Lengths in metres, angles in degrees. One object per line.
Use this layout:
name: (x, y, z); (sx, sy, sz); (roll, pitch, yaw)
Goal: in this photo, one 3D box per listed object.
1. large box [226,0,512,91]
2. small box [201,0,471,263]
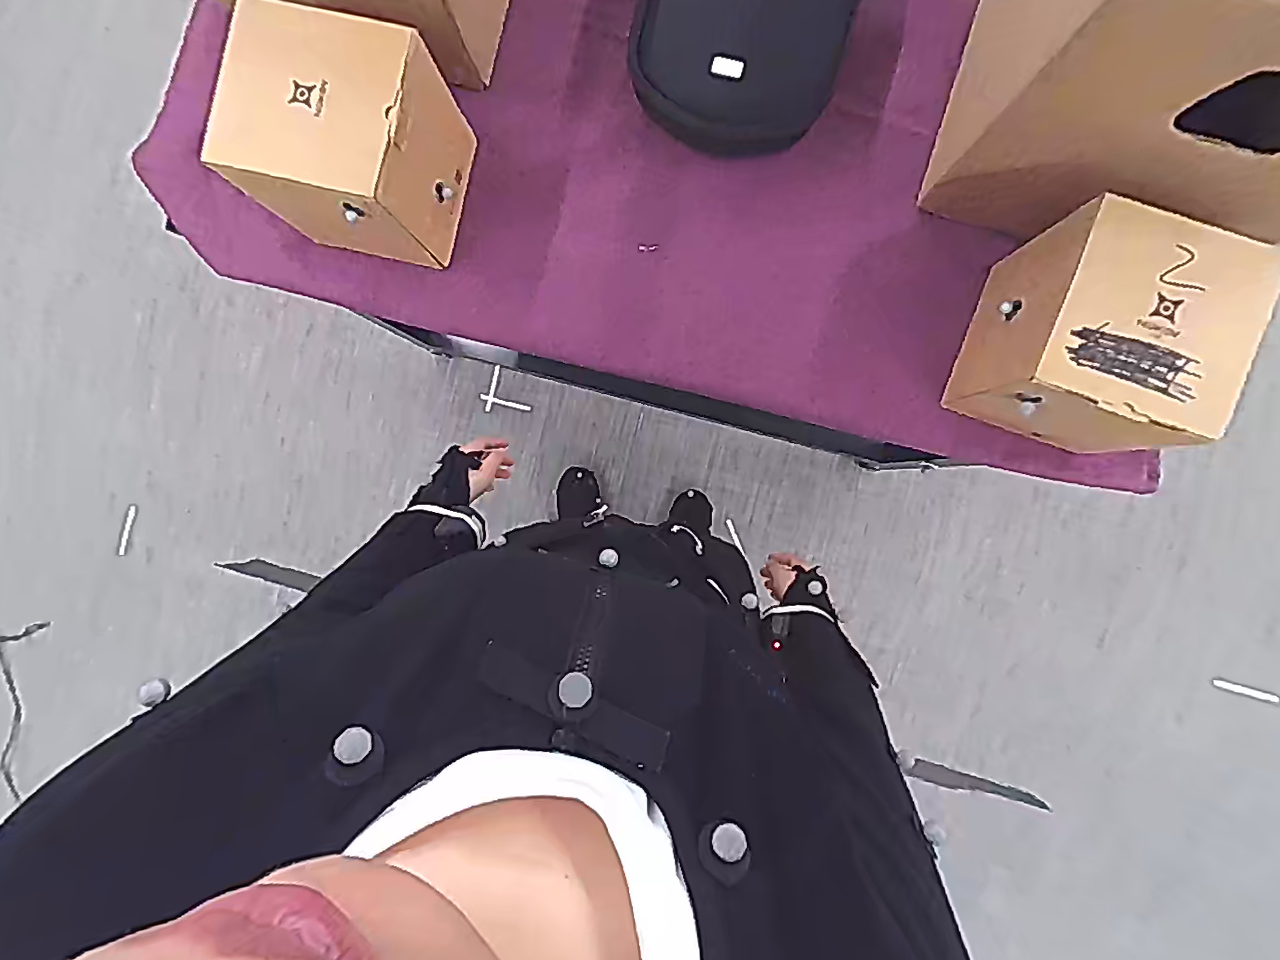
large box: (-0.286, -0.698, 0.512); (0.320, 0.320, 0.408); (14, 93, 1)
small box: (-0.309, -0.359, 0.586); (0.179, 0.176, 0.168); (12, 90, 1)
